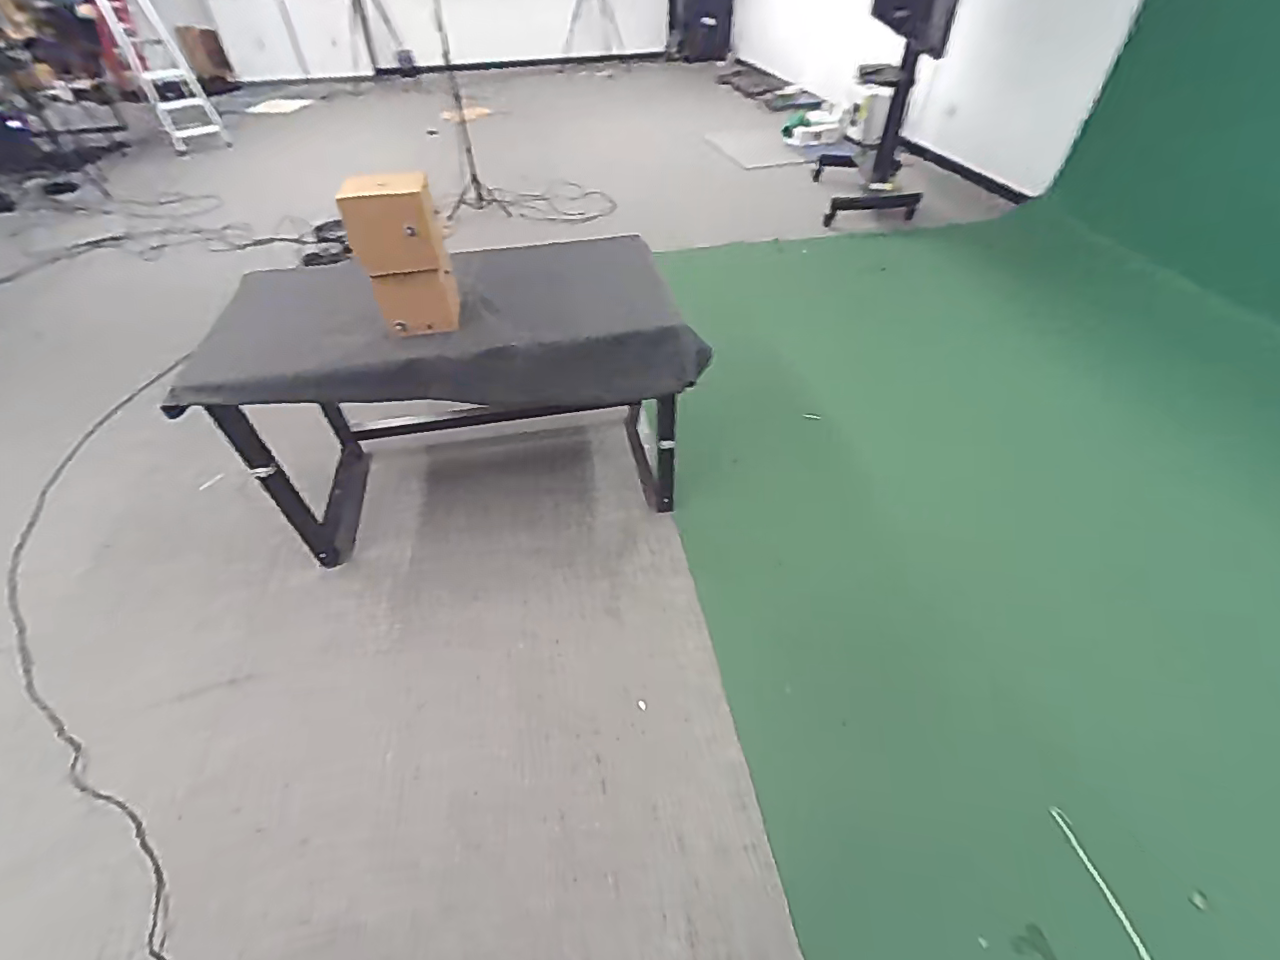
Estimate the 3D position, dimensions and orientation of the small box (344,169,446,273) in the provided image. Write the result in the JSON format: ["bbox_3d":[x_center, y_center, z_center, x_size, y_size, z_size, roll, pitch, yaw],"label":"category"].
[{"bbox_3d":[-0.550,-0.595,1.242,0.179,0.176,0.168,-11,45,-11],"label":"small box"}]

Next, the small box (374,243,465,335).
[{"bbox_3d":[-0.552,-0.482,1.381,0.168,0.176,0.179,-7,44,-6],"label":"small box"}]
